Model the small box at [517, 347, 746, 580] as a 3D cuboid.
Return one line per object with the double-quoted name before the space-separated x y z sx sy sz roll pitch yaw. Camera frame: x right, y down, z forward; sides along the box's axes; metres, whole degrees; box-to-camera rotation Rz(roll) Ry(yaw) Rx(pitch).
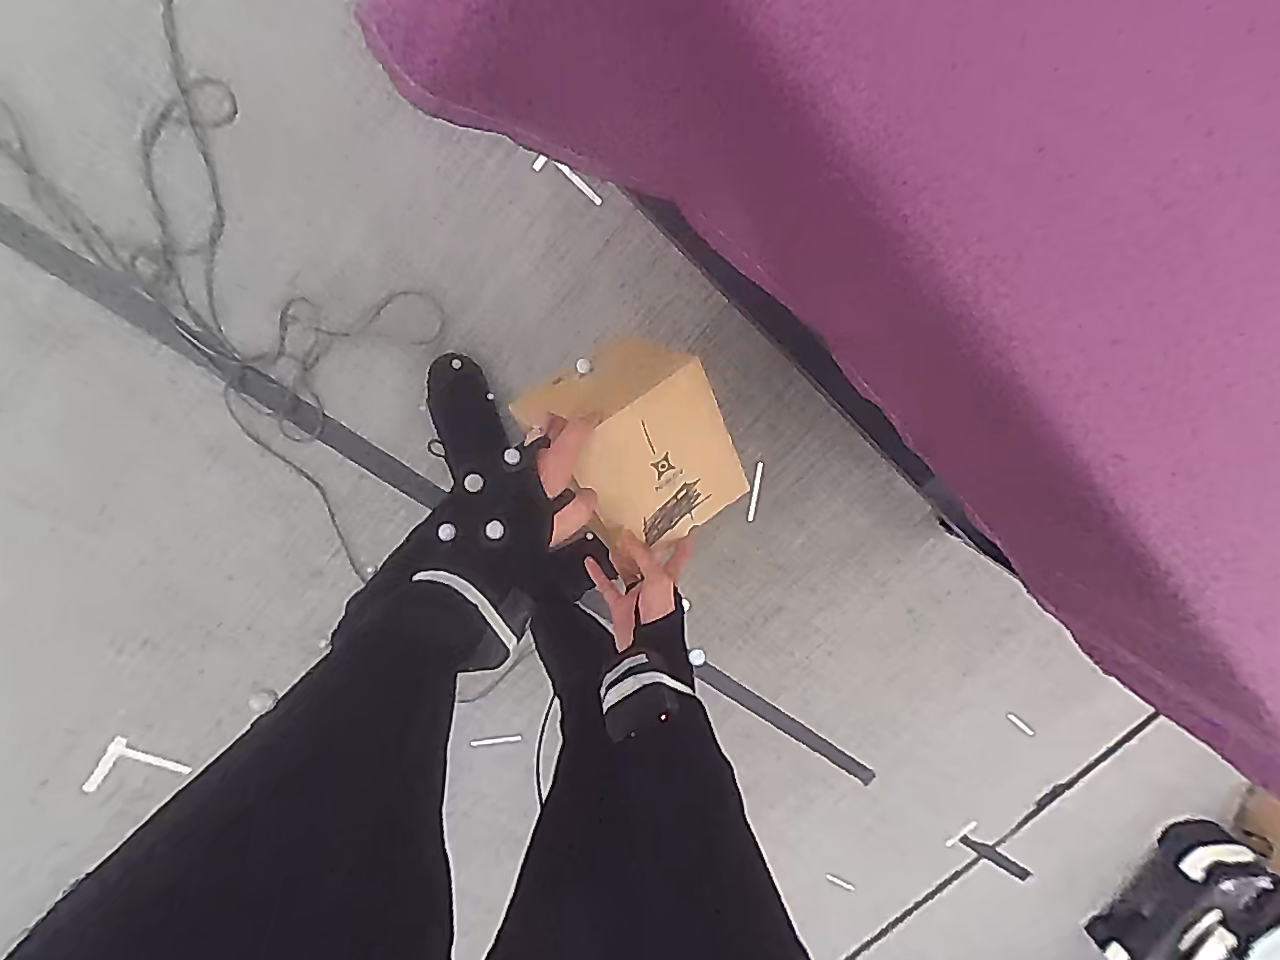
"small box" -0.012 -0.028 0.614 0.168 0.176 0.179 -36 124 -12
